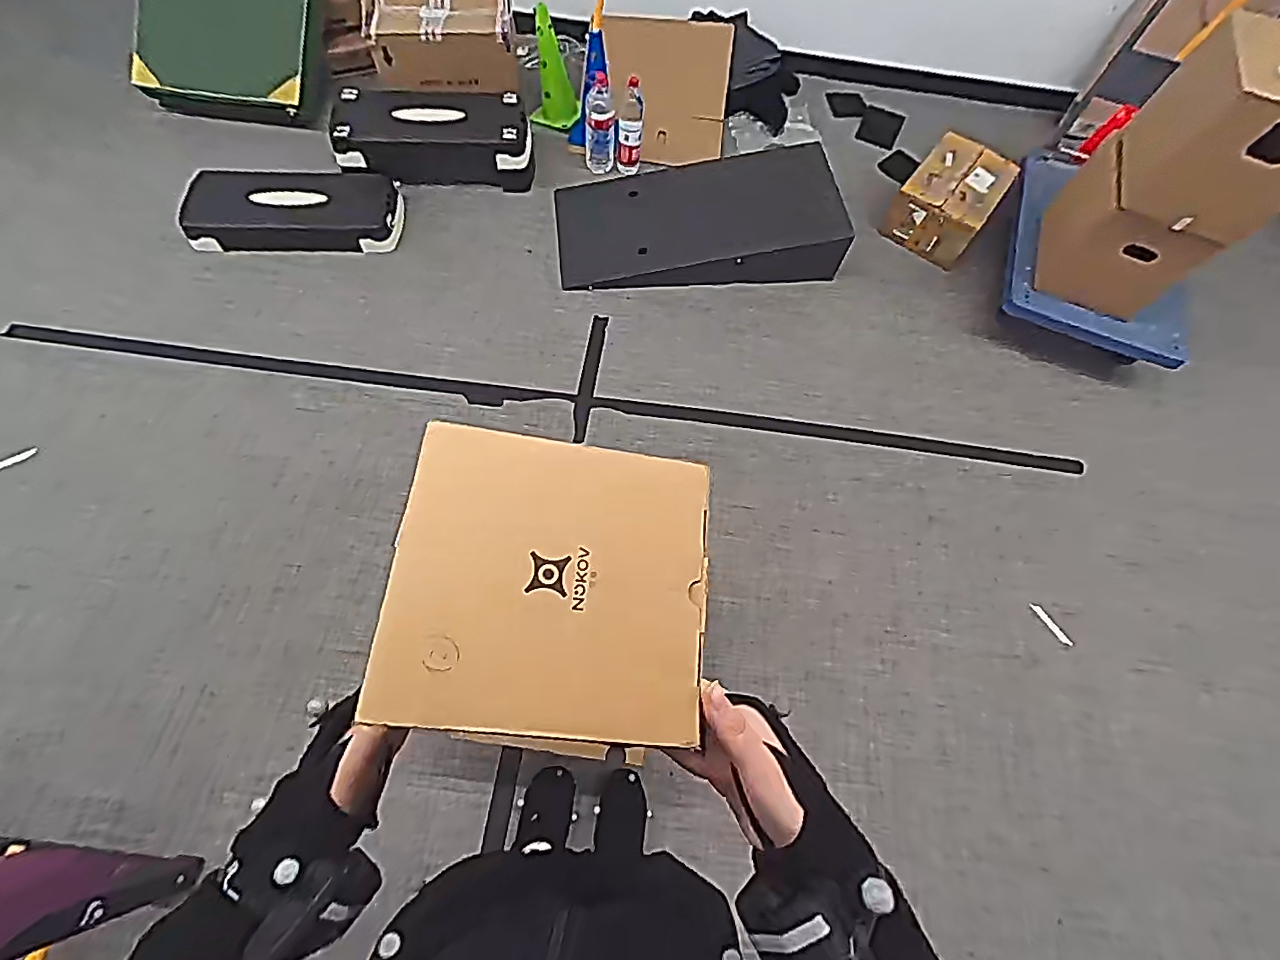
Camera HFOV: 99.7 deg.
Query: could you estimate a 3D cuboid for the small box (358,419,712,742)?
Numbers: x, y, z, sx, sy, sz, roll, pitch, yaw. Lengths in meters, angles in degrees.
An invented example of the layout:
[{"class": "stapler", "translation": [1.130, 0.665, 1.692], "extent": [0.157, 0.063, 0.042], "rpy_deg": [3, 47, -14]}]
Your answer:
[{"class": "small box", "translation": [-0.062, 0.079, 0.377], "extent": [0.179, 0.176, 0.168], "rpy_deg": [10, 69, -10]}]
